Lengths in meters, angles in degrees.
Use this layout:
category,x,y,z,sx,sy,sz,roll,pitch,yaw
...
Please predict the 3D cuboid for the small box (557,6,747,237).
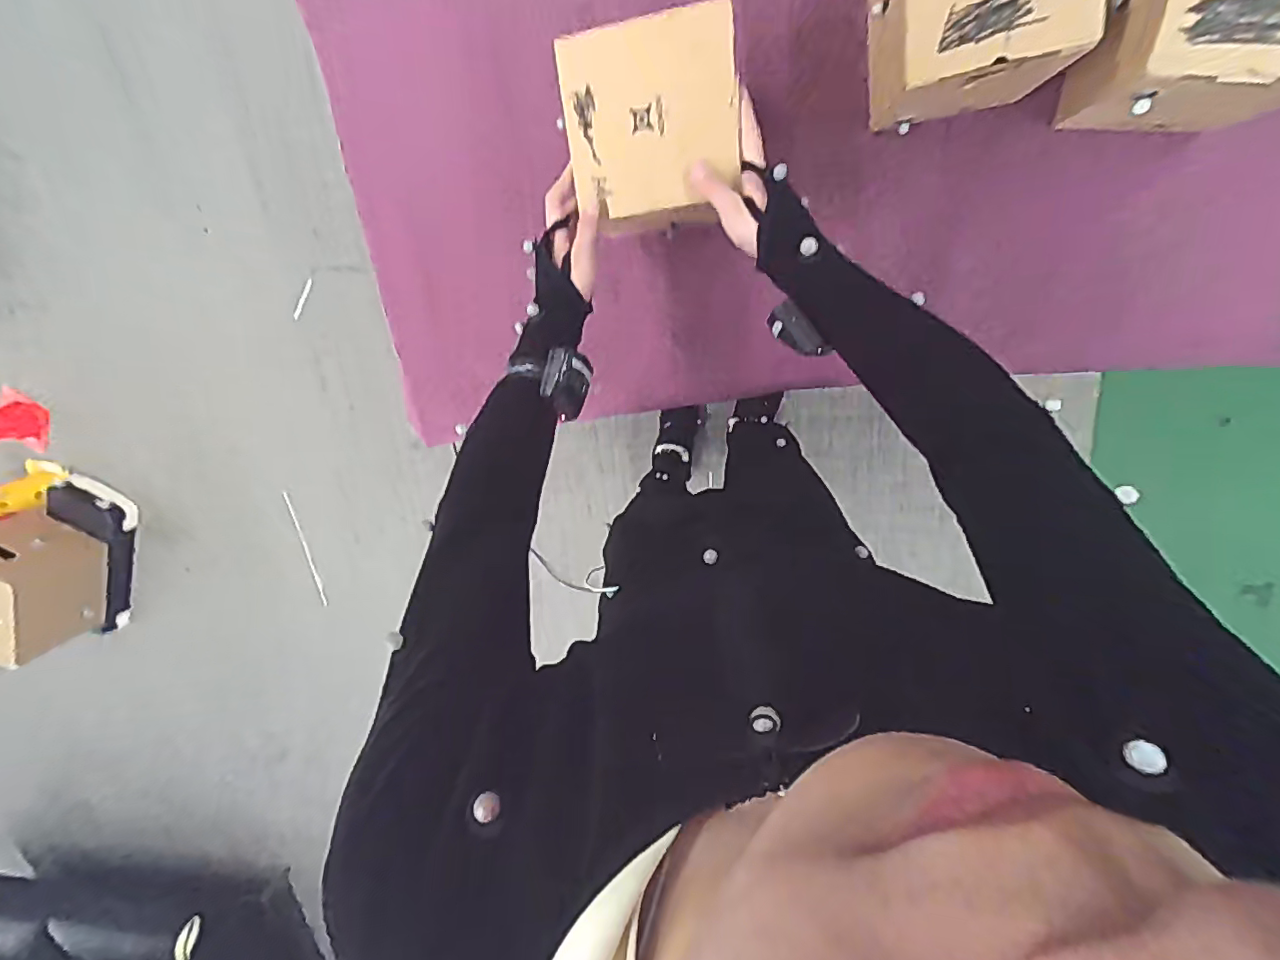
category,x,y,z,sx,sy,sz,roll,pitch,yaw
small box,0.024,-0.379,0.608,0.179,0.176,0.168,-4,108,10
